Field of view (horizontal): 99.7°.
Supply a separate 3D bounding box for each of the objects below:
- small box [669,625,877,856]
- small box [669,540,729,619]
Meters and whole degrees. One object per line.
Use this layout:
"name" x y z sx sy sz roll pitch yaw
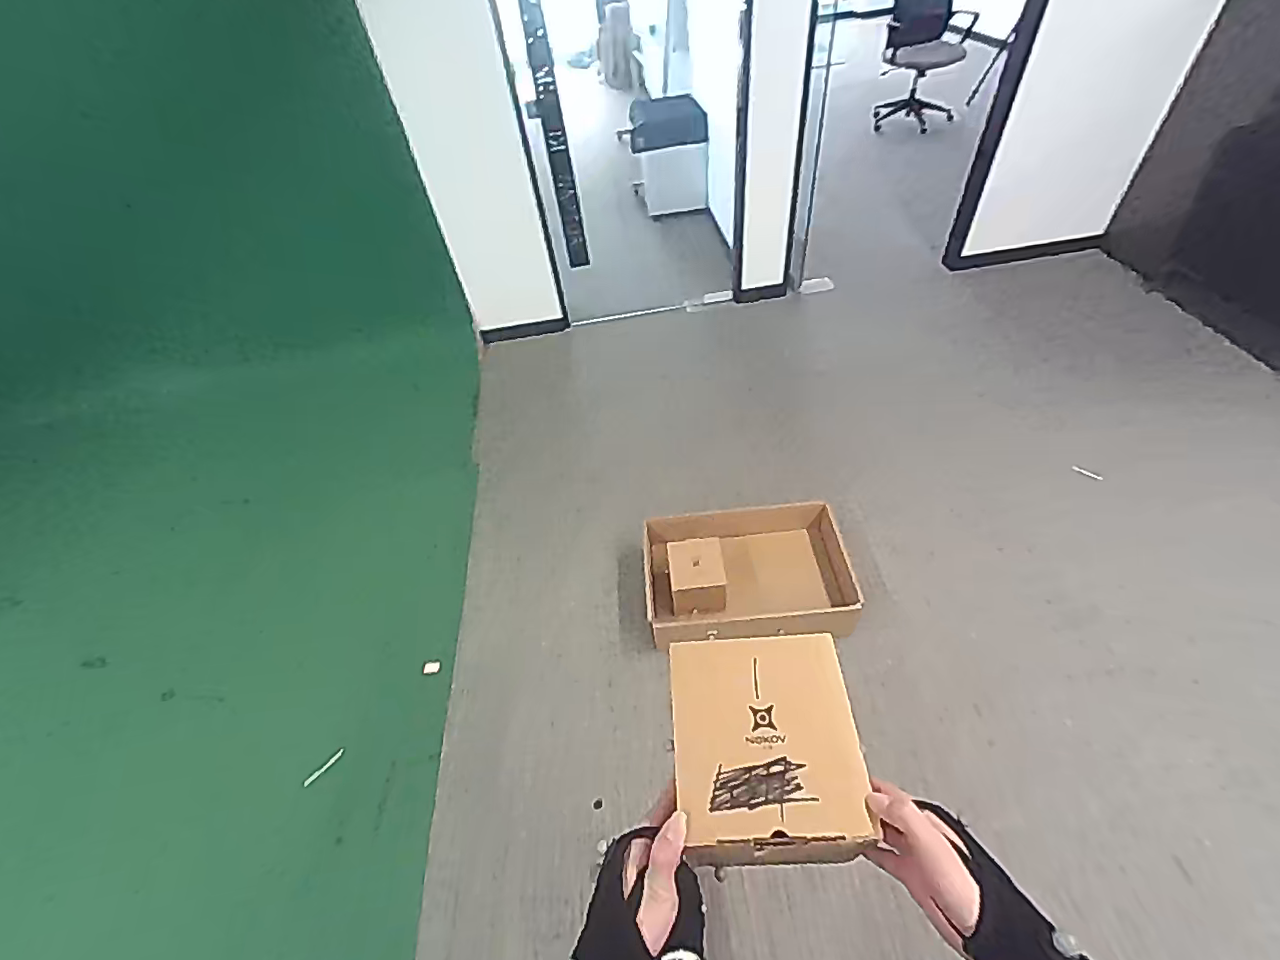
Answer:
"small box" 0.120 0.268 0.548 0.168 0.176 0.179 -4 47 5
"small box" 0.181 0.312 1.688 0.168 0.176 0.179 -6 47 3
